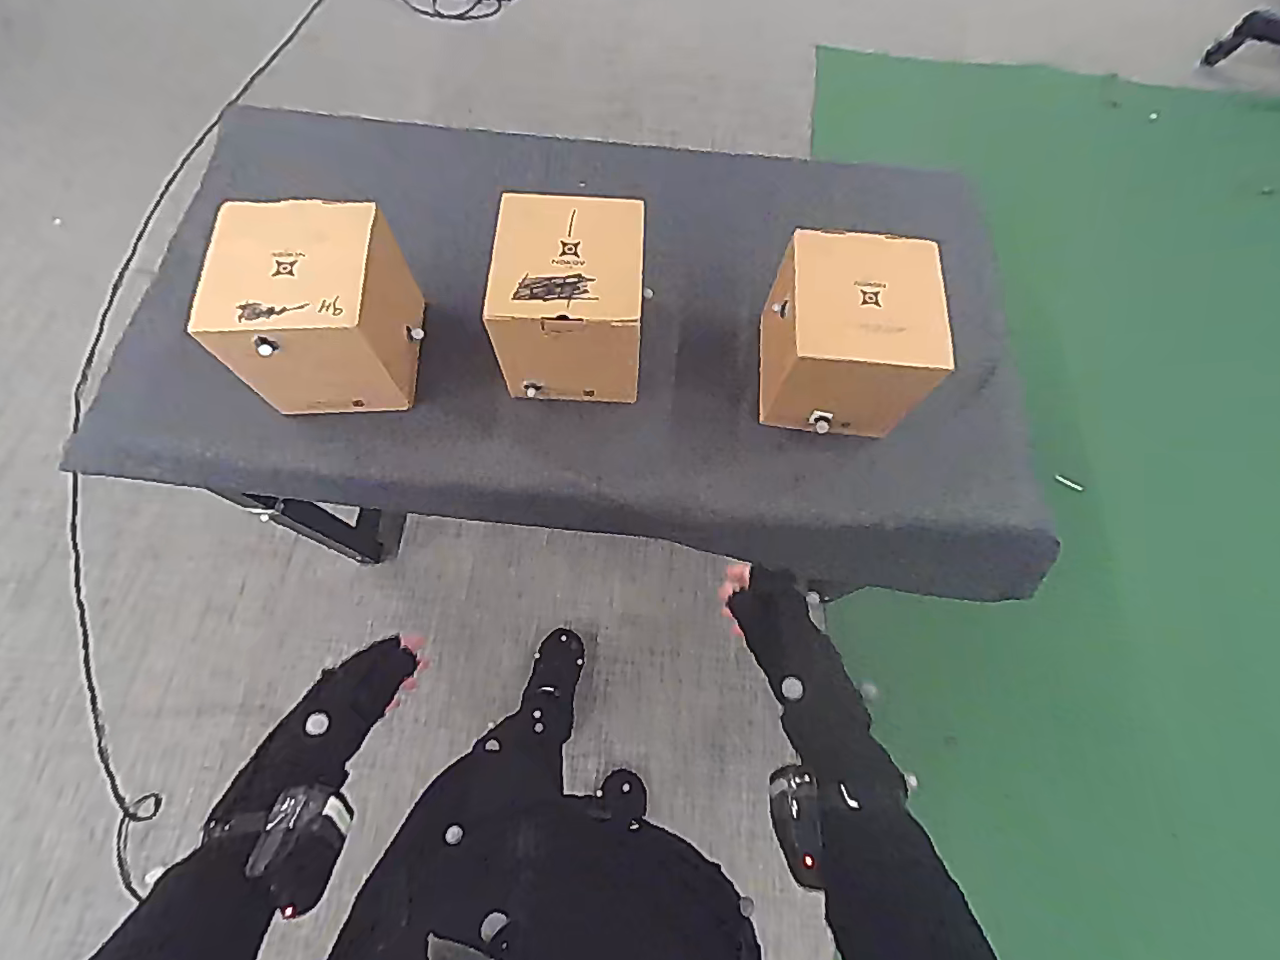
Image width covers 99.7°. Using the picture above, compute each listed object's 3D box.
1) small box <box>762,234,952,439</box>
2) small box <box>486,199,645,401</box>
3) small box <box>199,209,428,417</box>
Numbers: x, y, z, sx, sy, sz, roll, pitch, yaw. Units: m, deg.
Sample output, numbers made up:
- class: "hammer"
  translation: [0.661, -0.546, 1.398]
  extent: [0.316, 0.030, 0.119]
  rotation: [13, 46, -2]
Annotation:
- class: "small box"
  translation: [0.250, -0.169, 0.668]
  extent: [0.168, 0.176, 0.179]
  rotation: [4, 69, 1]
- class: "small box"
  translation: [-0.080, -0.212, 0.671]
  extent: [0.168, 0.176, 0.179]
  rotation: [2, 68, -1]
- class: "small box"
  translation: [-0.368, -0.194, 0.651]
  extent: [0.168, 0.176, 0.179]
  rotation: [-3, 67, -2]
